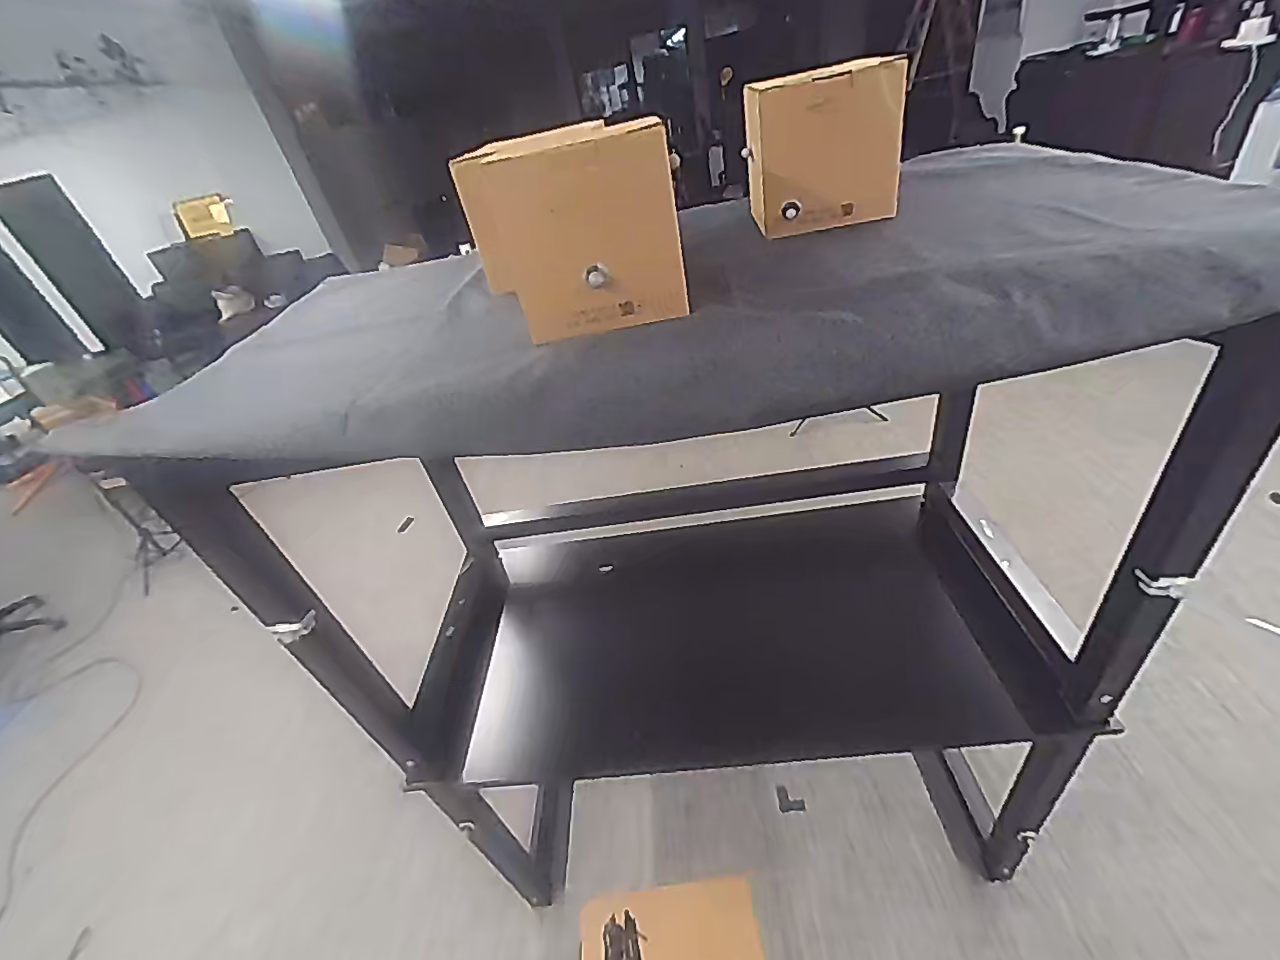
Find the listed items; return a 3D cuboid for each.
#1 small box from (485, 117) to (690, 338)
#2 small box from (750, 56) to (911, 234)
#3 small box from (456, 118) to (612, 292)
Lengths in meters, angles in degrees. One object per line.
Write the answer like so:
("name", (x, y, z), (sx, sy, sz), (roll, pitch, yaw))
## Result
("small box", (-0.042, -0.267, 0.572), (0.168, 0.176, 0.179), (-9, 36, 6))
("small box", (0.242, -0.440, 0.721), (0.168, 0.176, 0.179), (-6, 36, 9))
("small box", (-0.118, -0.379, 0.750), (0.179, 0.176, 0.168), (-5, 37, 11))
